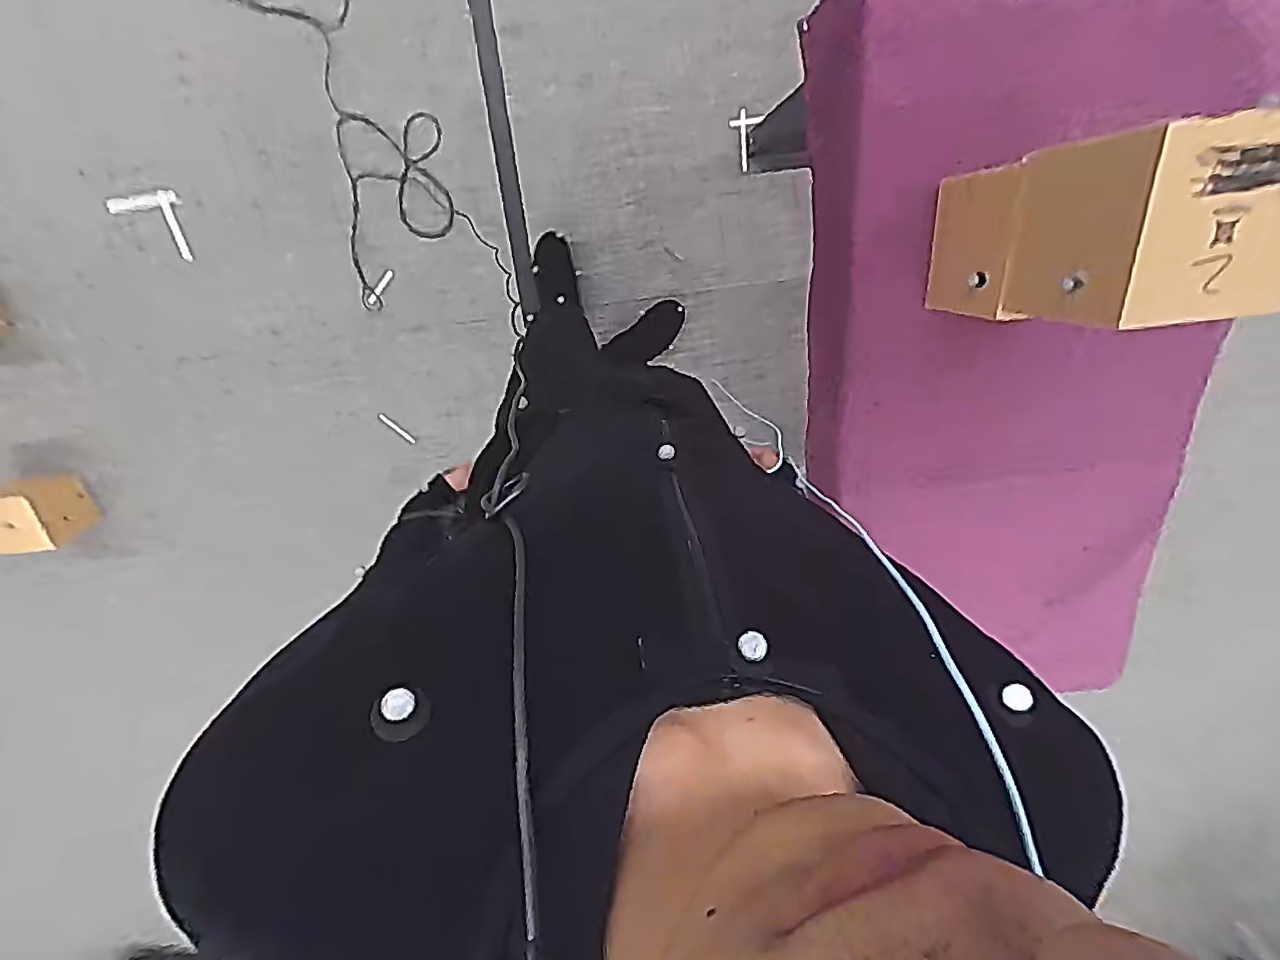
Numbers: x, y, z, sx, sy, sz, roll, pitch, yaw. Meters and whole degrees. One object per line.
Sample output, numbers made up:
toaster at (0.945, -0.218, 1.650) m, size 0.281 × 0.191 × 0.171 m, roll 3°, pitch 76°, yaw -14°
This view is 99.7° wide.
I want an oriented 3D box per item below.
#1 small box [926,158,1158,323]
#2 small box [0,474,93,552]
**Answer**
small box at (0.510, -0.314, 0.720) m, size 0.168 × 0.176 × 0.179 m, roll -5°, pitch 113°, yaw -2°
small box at (-1.742, 0.089, 1.549) m, size 0.179 × 0.176 × 0.168 m, roll -5°, pitch 113°, yaw -1°
